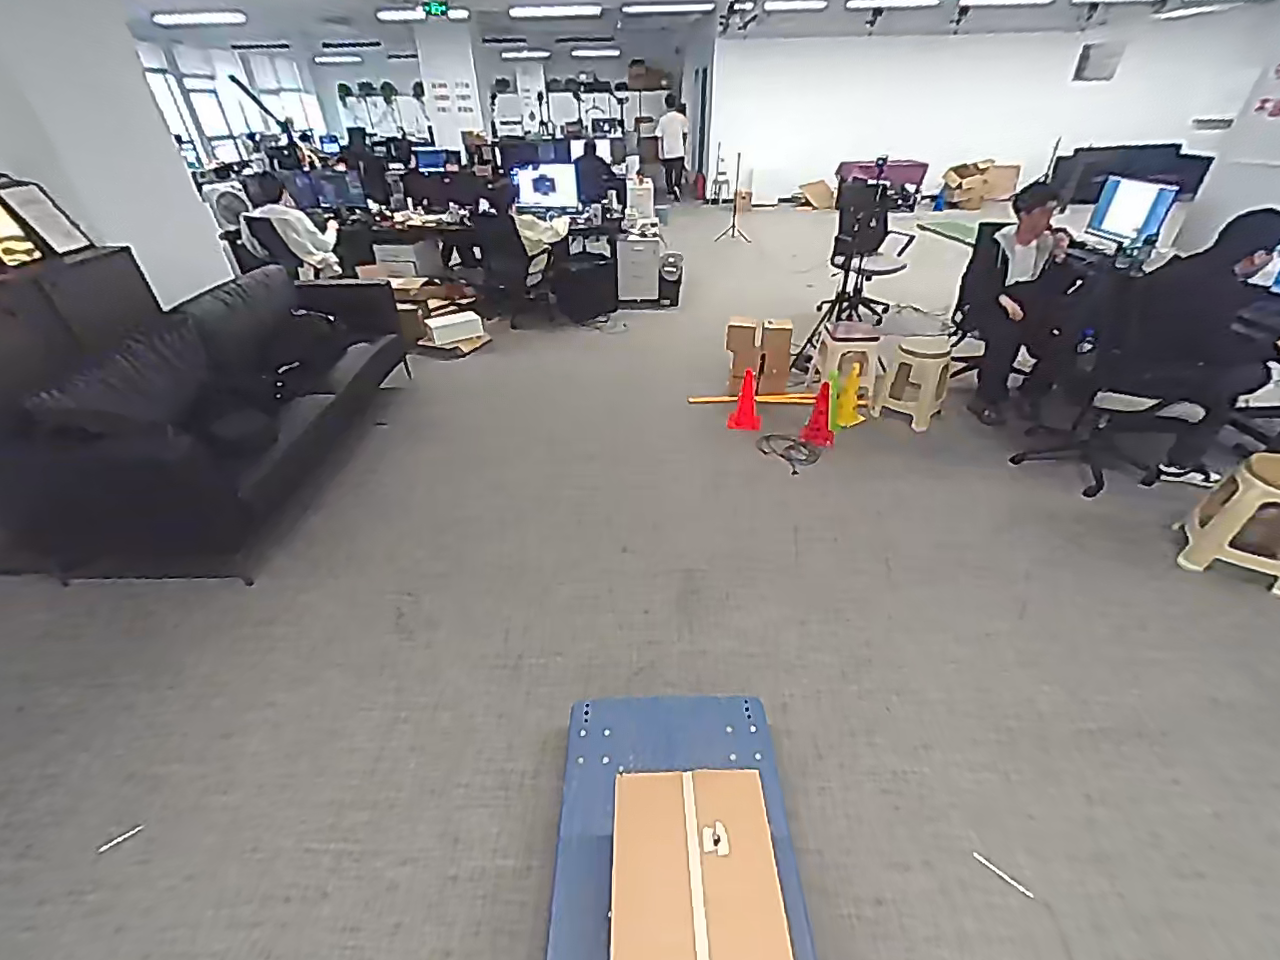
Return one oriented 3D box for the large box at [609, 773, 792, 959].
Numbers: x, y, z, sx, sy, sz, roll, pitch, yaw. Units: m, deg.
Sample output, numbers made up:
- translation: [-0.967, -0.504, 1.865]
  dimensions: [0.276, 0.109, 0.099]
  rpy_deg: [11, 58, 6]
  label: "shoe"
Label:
- translation: [0.105, 0.878, 1.091]
  dimensions: [0.320, 0.320, 0.408]
  rpy_deg: [-2, 34, 0]
  label: "large box"
